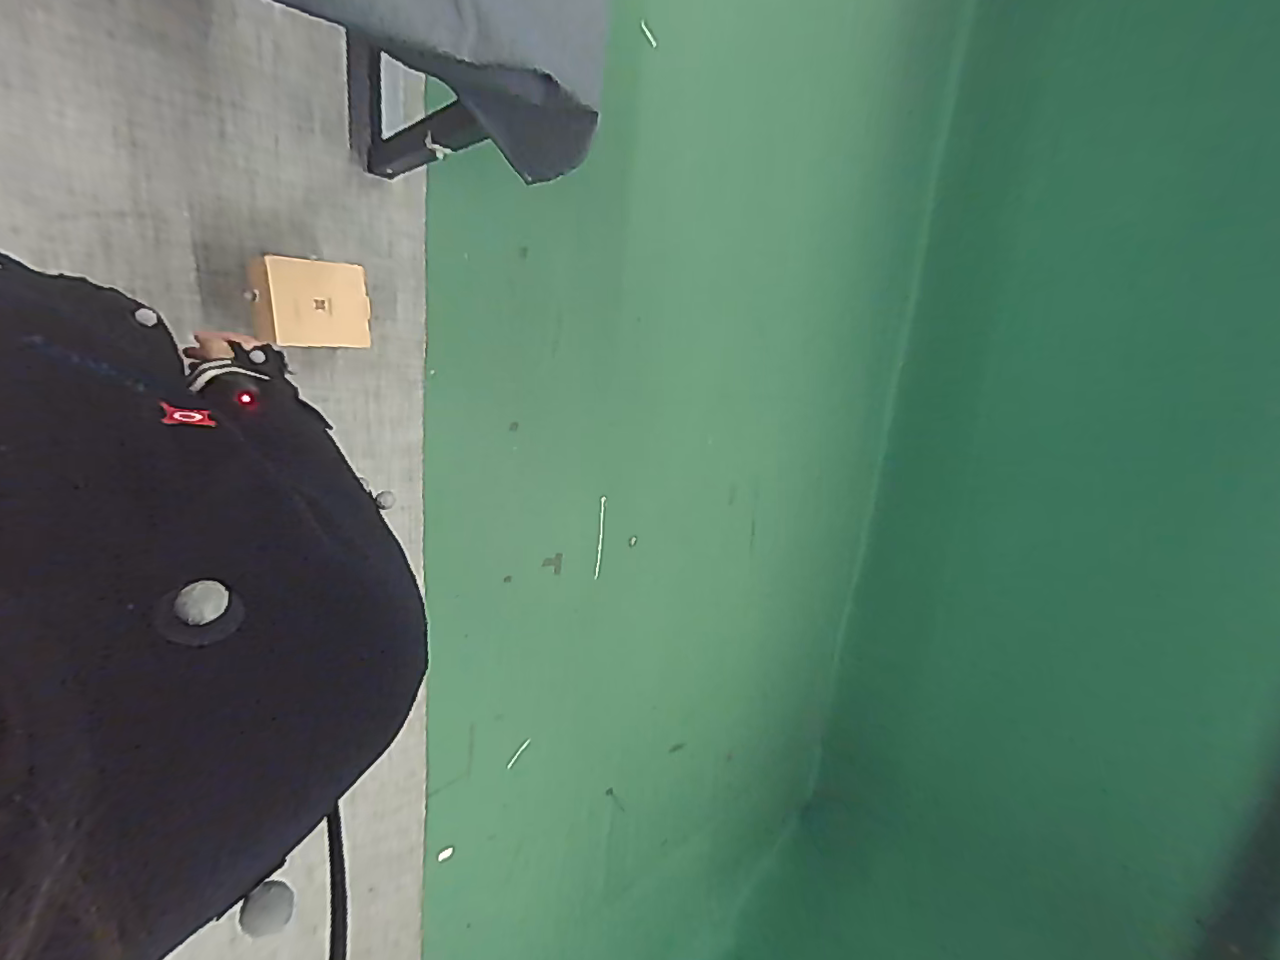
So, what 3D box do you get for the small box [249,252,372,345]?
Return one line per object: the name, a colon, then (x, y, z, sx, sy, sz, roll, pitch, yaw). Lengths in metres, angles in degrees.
small box: (-0.682, -0.371, 1.121, 0.179, 0.176, 0.168, -12, 111, -42)
